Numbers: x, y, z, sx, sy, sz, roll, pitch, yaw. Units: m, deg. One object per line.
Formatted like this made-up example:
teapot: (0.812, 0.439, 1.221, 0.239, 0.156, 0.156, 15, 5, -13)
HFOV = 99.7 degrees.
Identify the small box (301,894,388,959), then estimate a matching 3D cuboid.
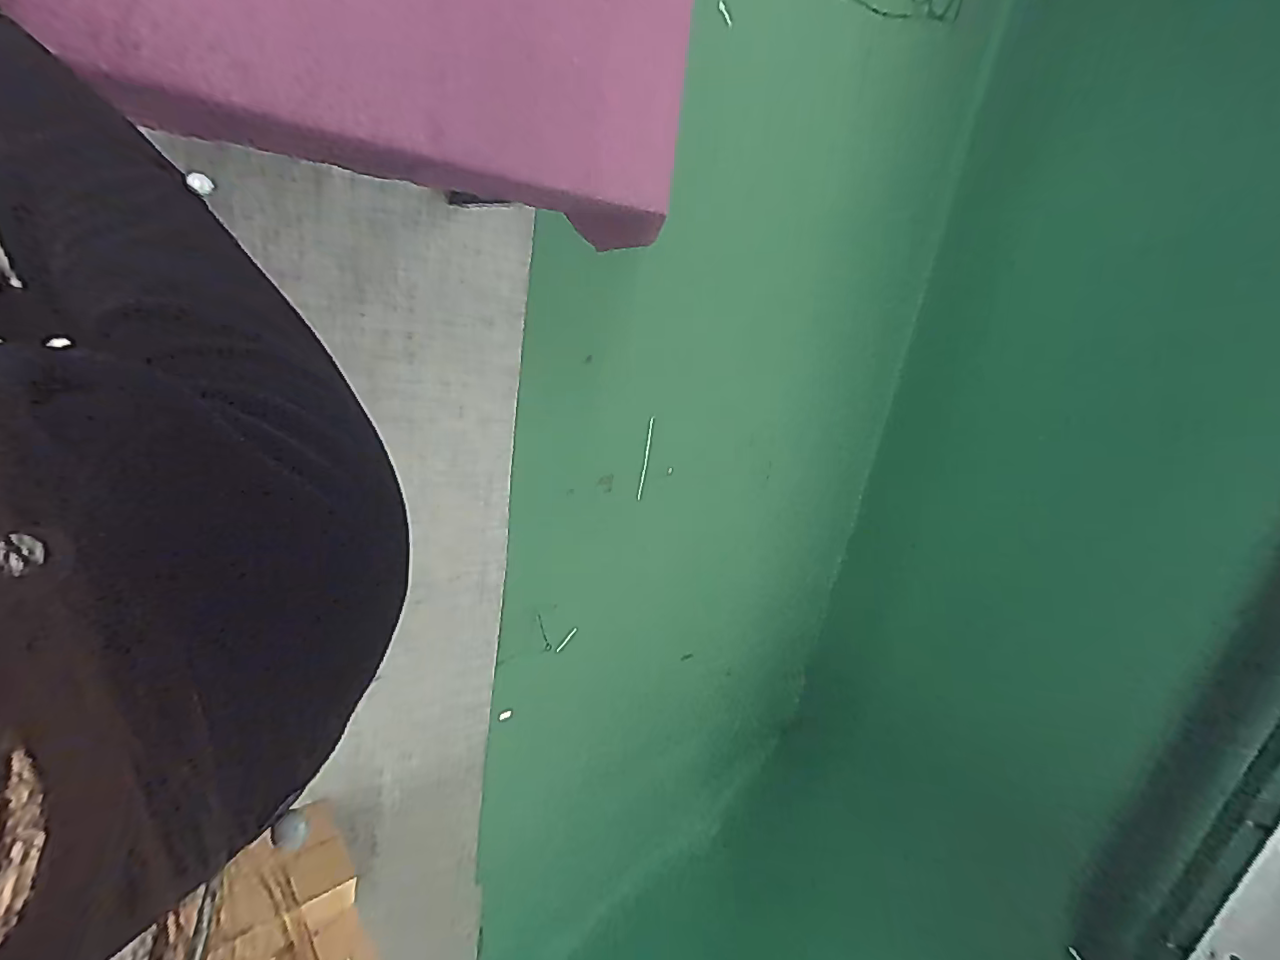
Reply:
small box: (-0.821, 1.315, 1.498, 0.168, 0.176, 0.179, -7, 116, -46)

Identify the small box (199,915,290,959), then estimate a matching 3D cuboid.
small box: (-0.954, 1.217, 1.297, 0.179, 0.176, 0.168, -9, 117, -45)
